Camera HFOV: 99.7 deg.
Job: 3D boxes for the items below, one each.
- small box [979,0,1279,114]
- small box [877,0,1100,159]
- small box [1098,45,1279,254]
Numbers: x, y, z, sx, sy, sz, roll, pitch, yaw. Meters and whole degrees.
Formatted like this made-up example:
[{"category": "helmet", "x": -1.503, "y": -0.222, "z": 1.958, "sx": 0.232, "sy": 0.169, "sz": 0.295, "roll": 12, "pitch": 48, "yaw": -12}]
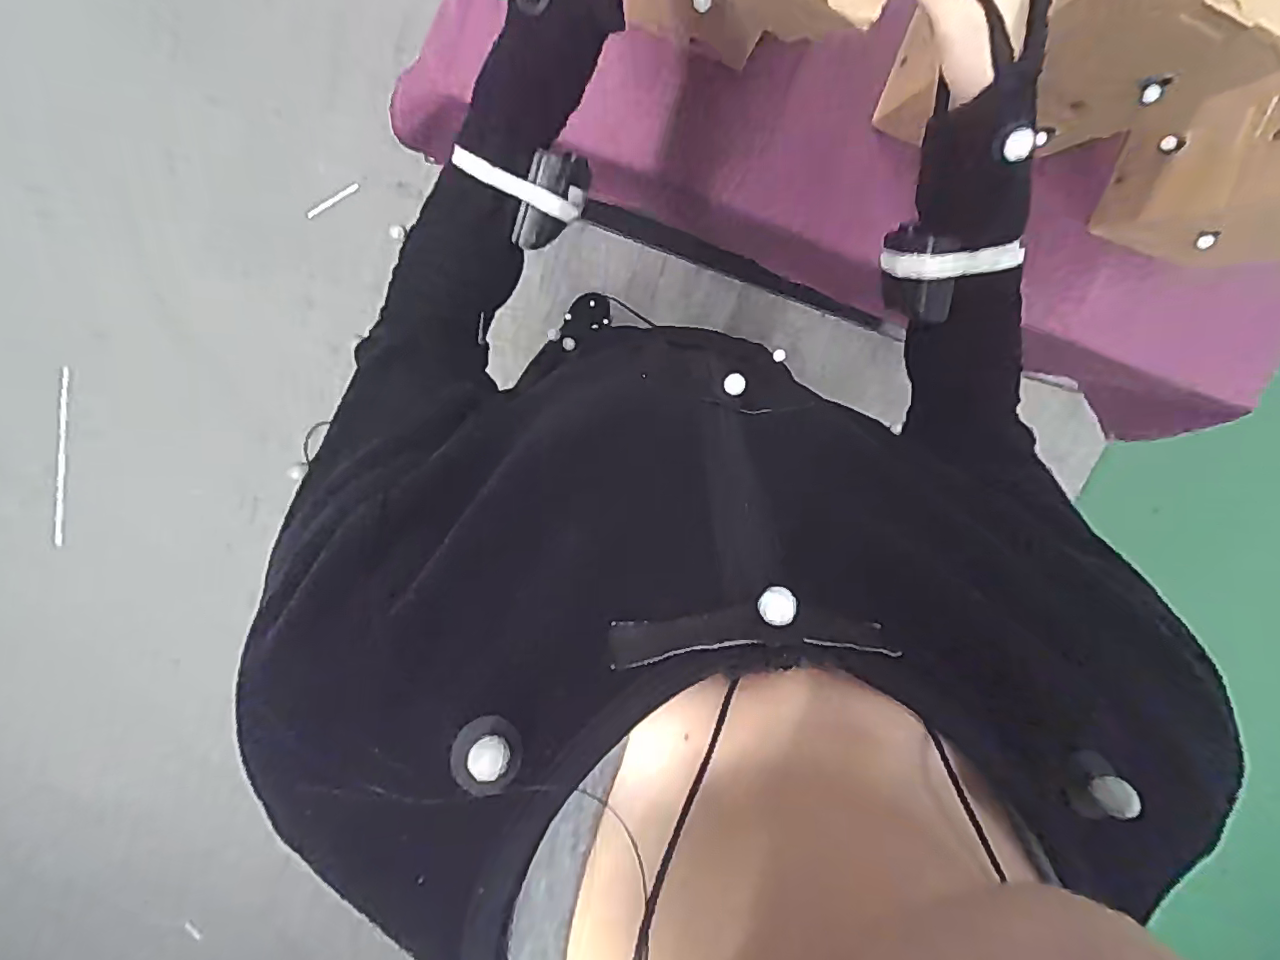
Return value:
[{"category": "small box", "x": 0.410, "y": -0.427, "z": 0.419, "sx": 0.168, "sy": 0.176, "sz": 0.179, "roll": 16, "pitch": 103, "yaw": -10}, {"category": "small box", "x": 0.390, "y": -0.473, "z": 0.574, "sx": 0.179, "sy": 0.176, "sz": 0.168, "roll": 17, "pitch": 104, "yaw": -10}, {"category": "small box", "x": 0.697, "y": -0.374, "z": 0.623, "sx": 0.179, "sy": 0.176, "sz": 0.168, "roll": 14, "pitch": 104, "yaw": -8}]
